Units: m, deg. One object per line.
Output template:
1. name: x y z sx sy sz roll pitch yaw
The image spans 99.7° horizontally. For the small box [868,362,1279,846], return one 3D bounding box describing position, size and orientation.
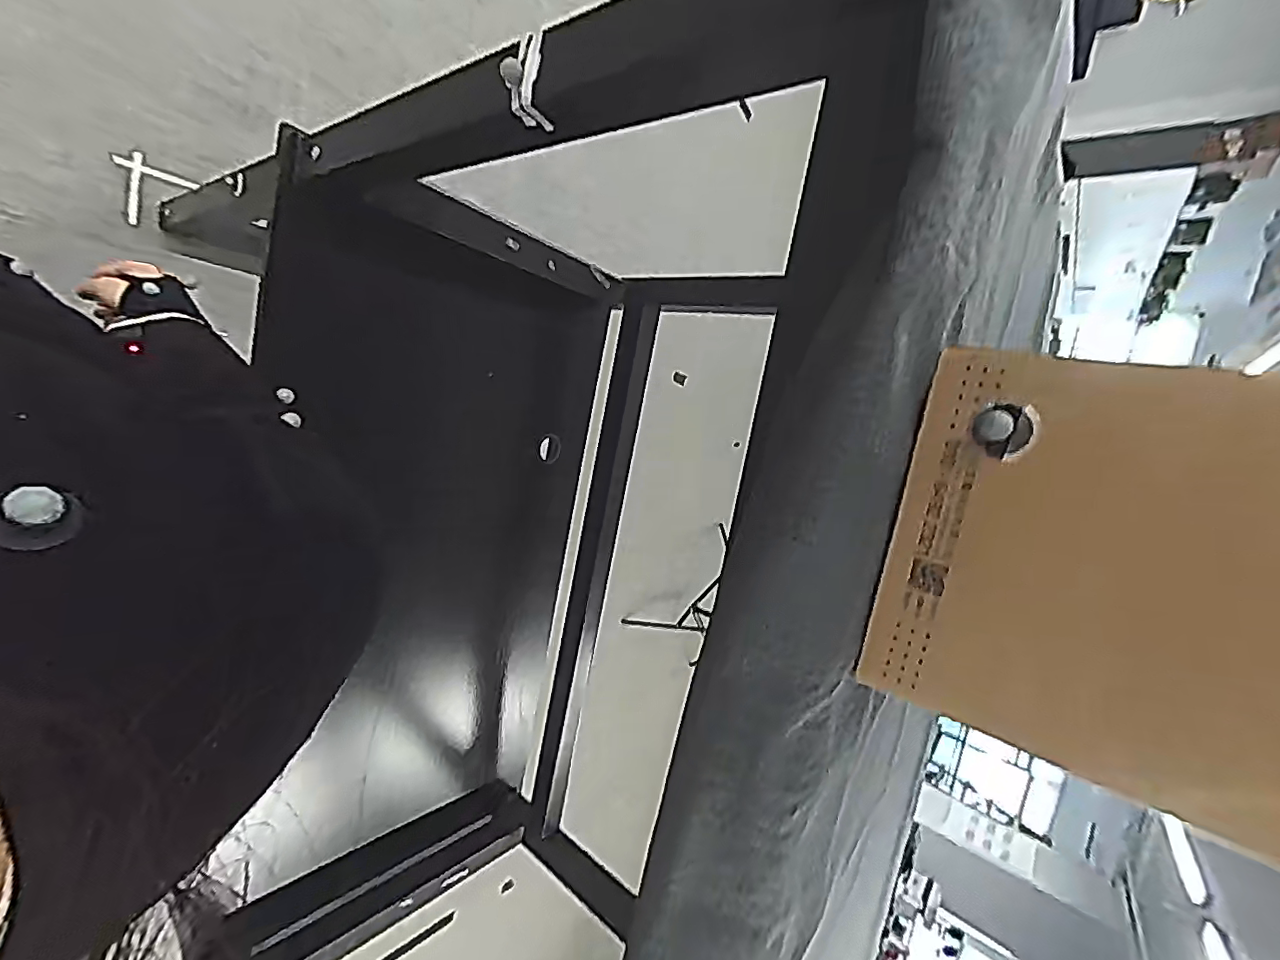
1. small box: 0.235 0.038 0.280 0.179 0.176 0.168 -2 106 -54
